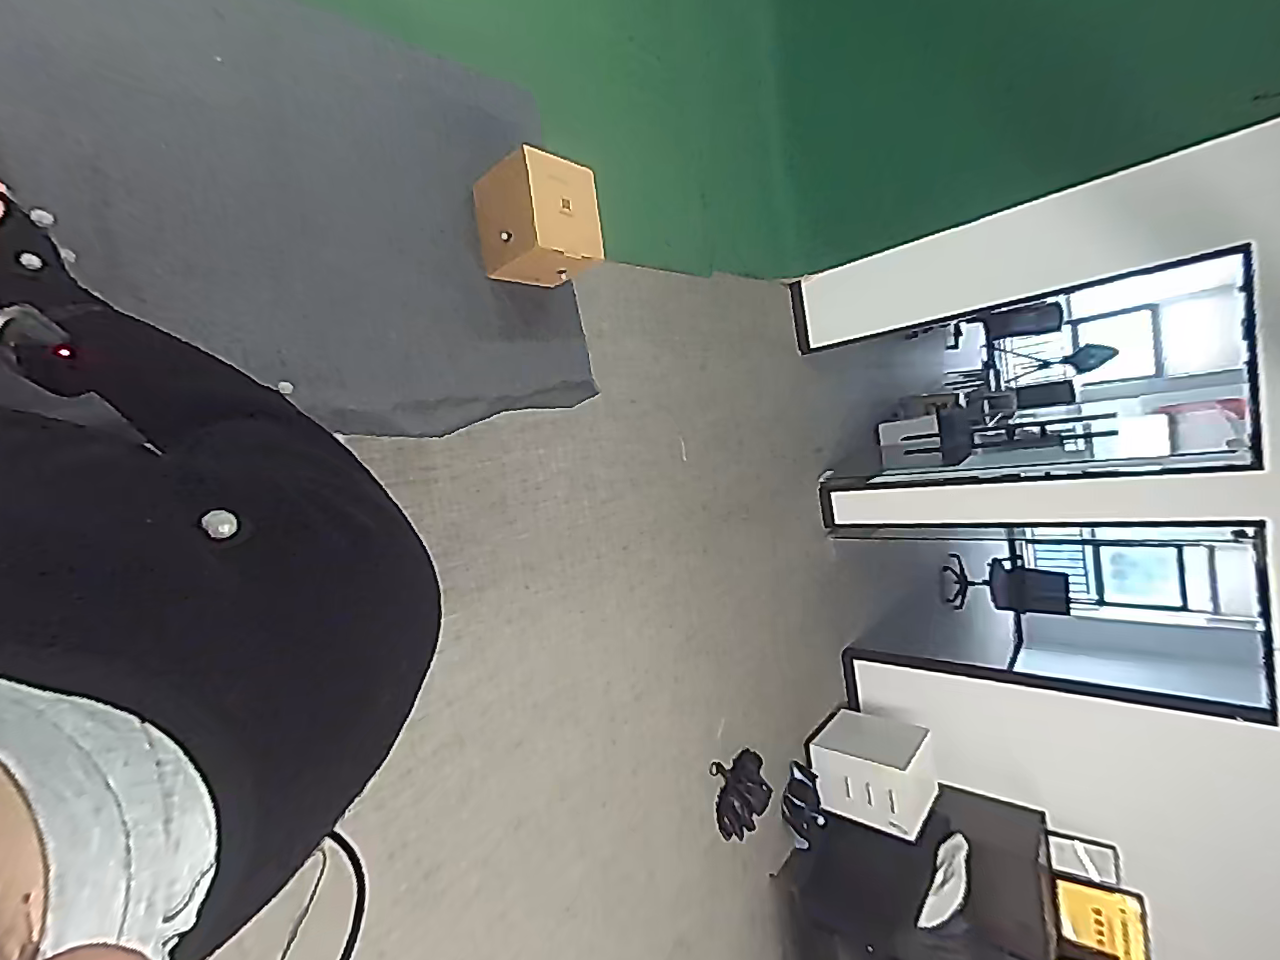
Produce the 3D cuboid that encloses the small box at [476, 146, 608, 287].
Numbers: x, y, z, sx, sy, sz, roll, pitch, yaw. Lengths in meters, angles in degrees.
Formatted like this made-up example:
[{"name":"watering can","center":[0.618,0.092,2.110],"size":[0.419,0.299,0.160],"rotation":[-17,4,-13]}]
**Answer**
[{"name":"small box","center":[-0.187,-0.482,1.024],"size":[0.168,0.176,0.179],"rotation":[-13,94,-48]}]
